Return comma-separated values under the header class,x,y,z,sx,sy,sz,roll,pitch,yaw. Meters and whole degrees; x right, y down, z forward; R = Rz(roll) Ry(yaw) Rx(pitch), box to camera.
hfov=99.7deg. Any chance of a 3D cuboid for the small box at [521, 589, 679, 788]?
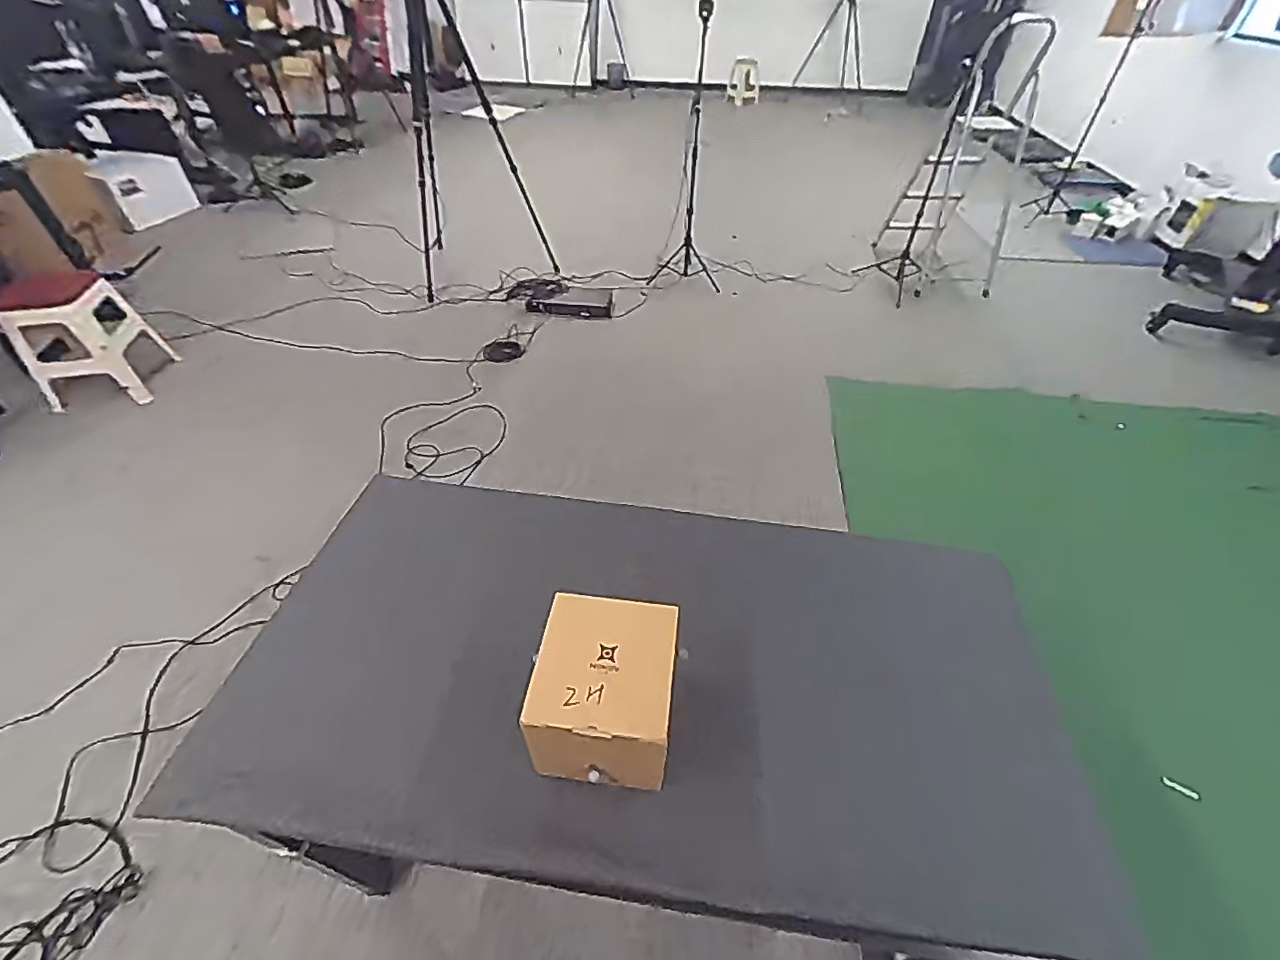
class,x,y,z,sx,sy,sz,roll,pitch,yaw
small box,-0.043,0.270,0.703,0.168,0.176,0.179,5,44,5
